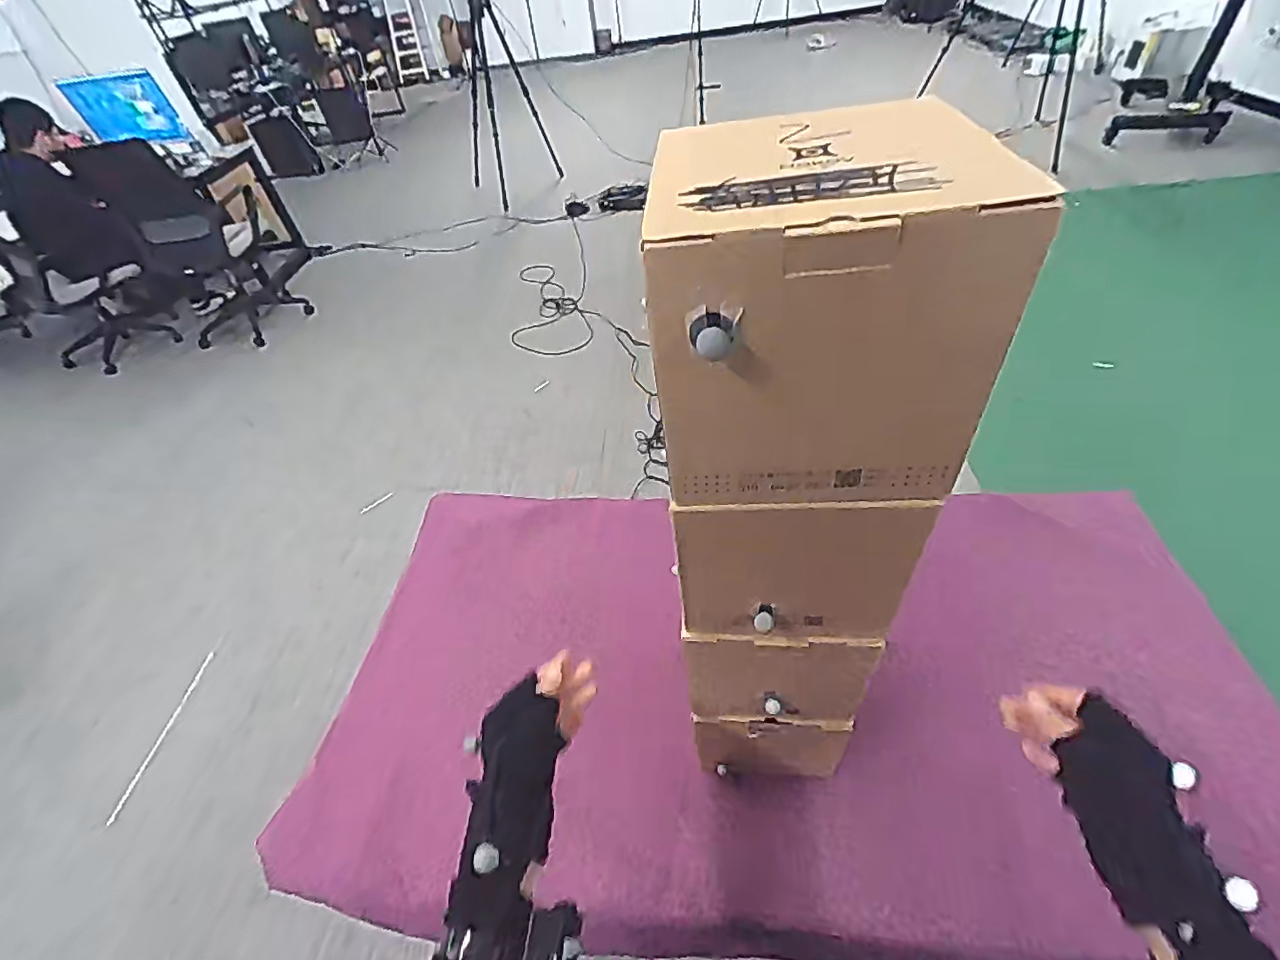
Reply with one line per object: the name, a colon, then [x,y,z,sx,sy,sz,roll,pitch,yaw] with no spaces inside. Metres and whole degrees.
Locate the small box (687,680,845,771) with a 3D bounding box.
small box: [0.151,0.246,0.680,0.168,0.176,0.179,0,46,9]

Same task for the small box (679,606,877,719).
small box: [0.132,0.127,0.568,0.168,0.176,0.179,-1,46,9]

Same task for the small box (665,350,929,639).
small box: [0.113,0.012,0.454,0.168,0.176,0.179,-1,46,9]
